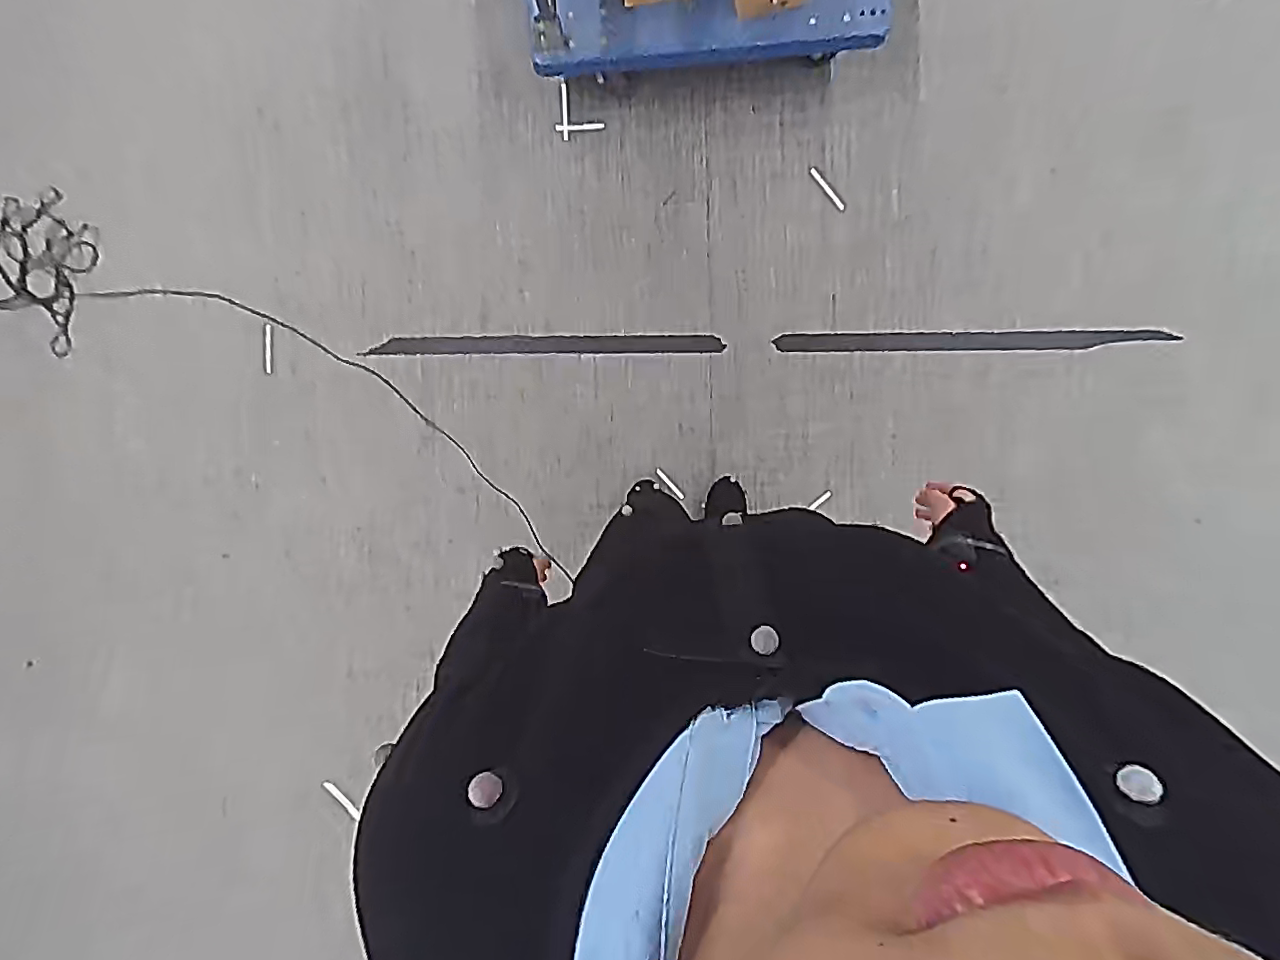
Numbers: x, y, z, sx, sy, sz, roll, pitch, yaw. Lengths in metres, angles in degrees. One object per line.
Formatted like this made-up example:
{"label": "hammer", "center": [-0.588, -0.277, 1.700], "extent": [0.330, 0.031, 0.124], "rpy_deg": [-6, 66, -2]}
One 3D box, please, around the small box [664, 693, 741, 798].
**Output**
{"label": "small box", "center": [0.160, 0.690, 1.420], "extent": [0.168, 0.176, 0.179], "rpy_deg": [-12, 90, 2]}
